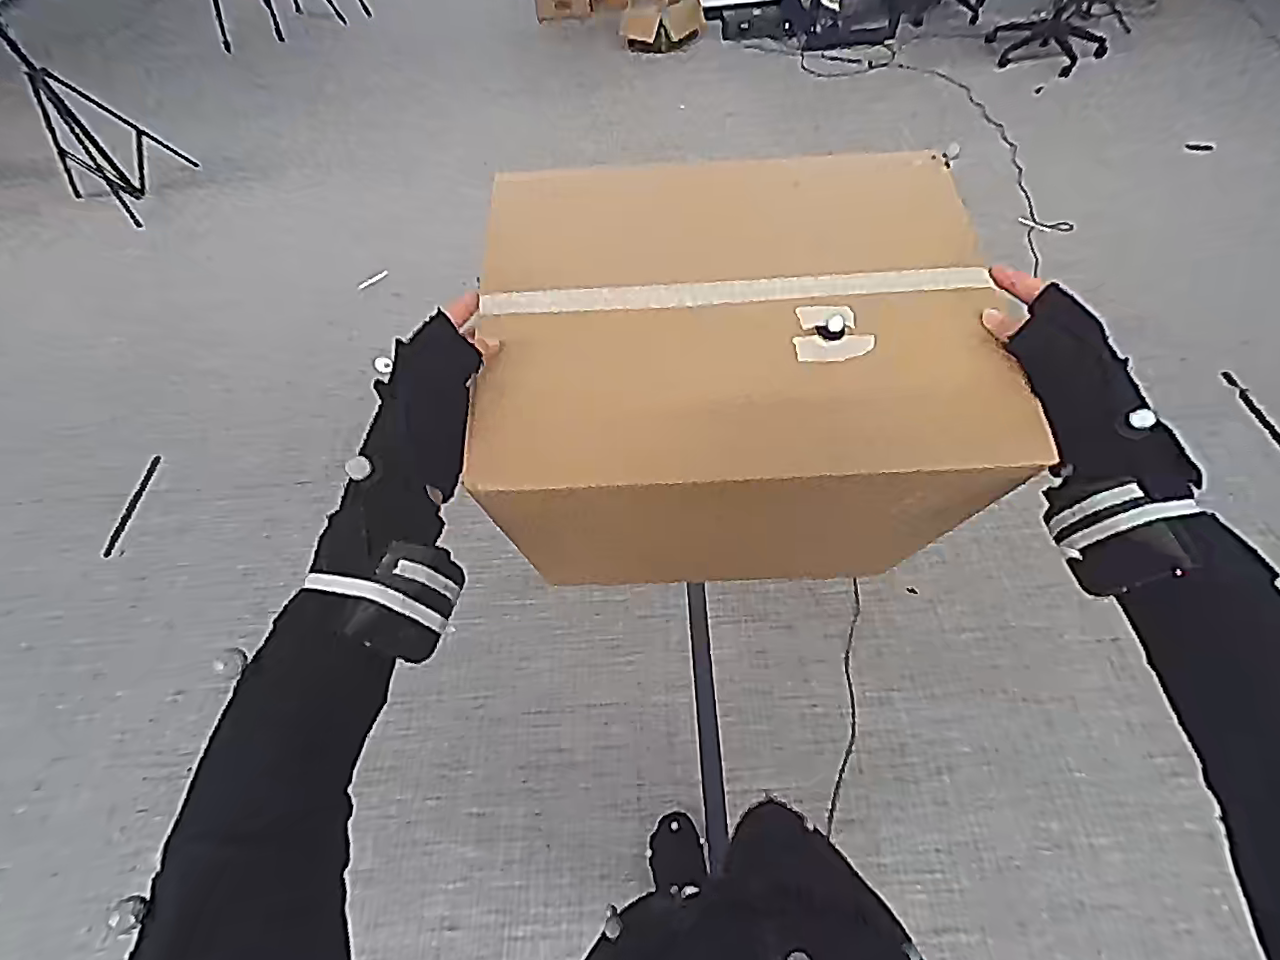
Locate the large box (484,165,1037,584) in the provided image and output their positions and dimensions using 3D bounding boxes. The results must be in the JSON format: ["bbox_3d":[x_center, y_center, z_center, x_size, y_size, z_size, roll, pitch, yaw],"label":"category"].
[{"bbox_3d":[0.079,-0.084,0.577,0.408,0.320,0.320,-3,67,0],"label":"large box"}]
